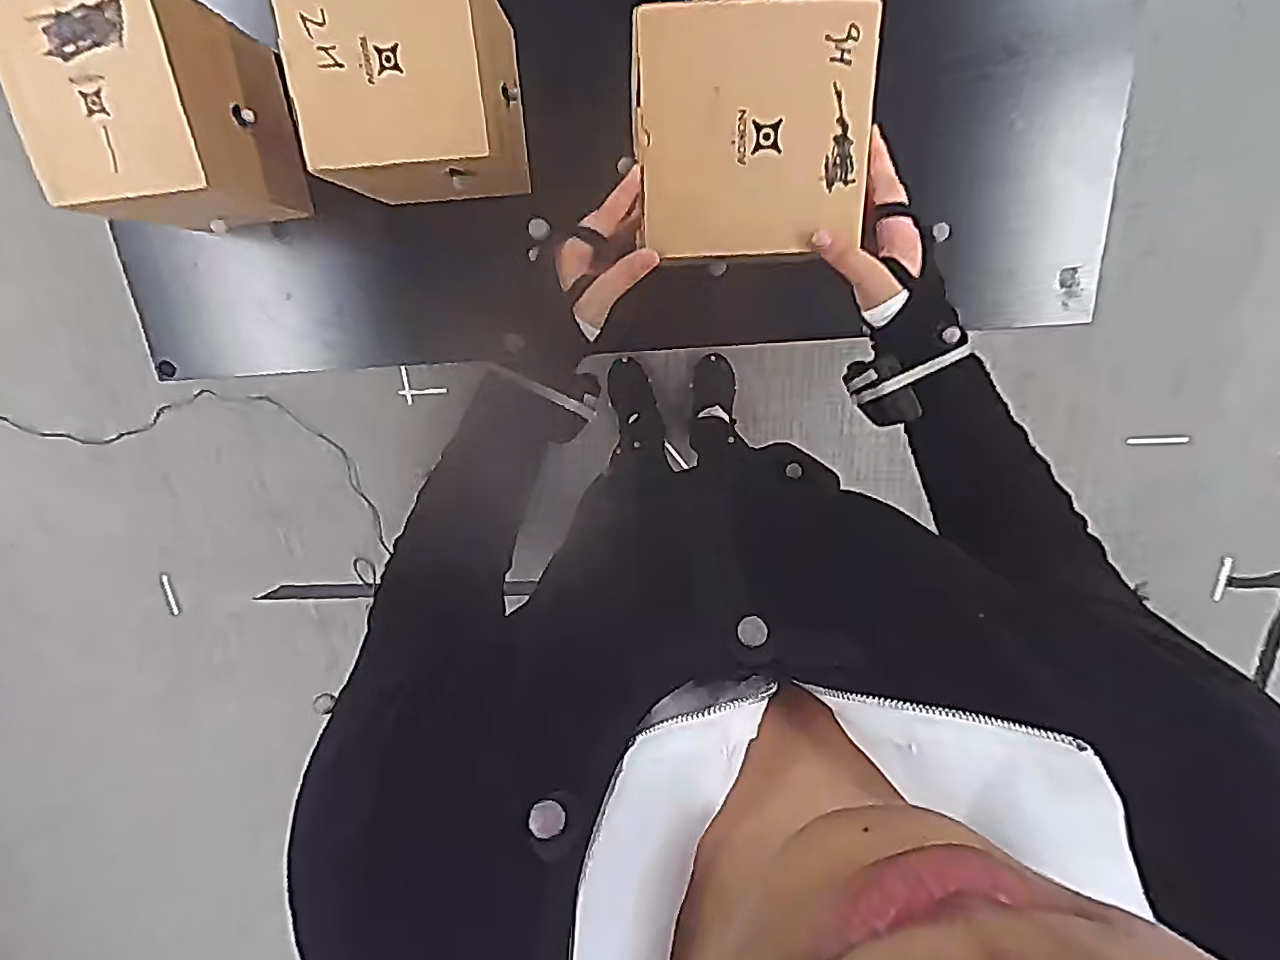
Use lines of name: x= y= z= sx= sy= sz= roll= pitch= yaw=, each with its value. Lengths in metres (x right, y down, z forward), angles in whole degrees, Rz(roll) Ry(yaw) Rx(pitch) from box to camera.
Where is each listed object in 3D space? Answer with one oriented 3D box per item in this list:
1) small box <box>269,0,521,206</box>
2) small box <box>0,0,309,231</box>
small box: x=-0.228 y=-0.390 z=0.554 sx=0.179 sy=0.176 sz=0.168 roll=-4 pitch=107 yaw=3
small box: x=-0.494 y=-0.374 z=0.570 sx=0.168 sy=0.176 sz=0.179 roll=-5 pitch=108 yaw=4
